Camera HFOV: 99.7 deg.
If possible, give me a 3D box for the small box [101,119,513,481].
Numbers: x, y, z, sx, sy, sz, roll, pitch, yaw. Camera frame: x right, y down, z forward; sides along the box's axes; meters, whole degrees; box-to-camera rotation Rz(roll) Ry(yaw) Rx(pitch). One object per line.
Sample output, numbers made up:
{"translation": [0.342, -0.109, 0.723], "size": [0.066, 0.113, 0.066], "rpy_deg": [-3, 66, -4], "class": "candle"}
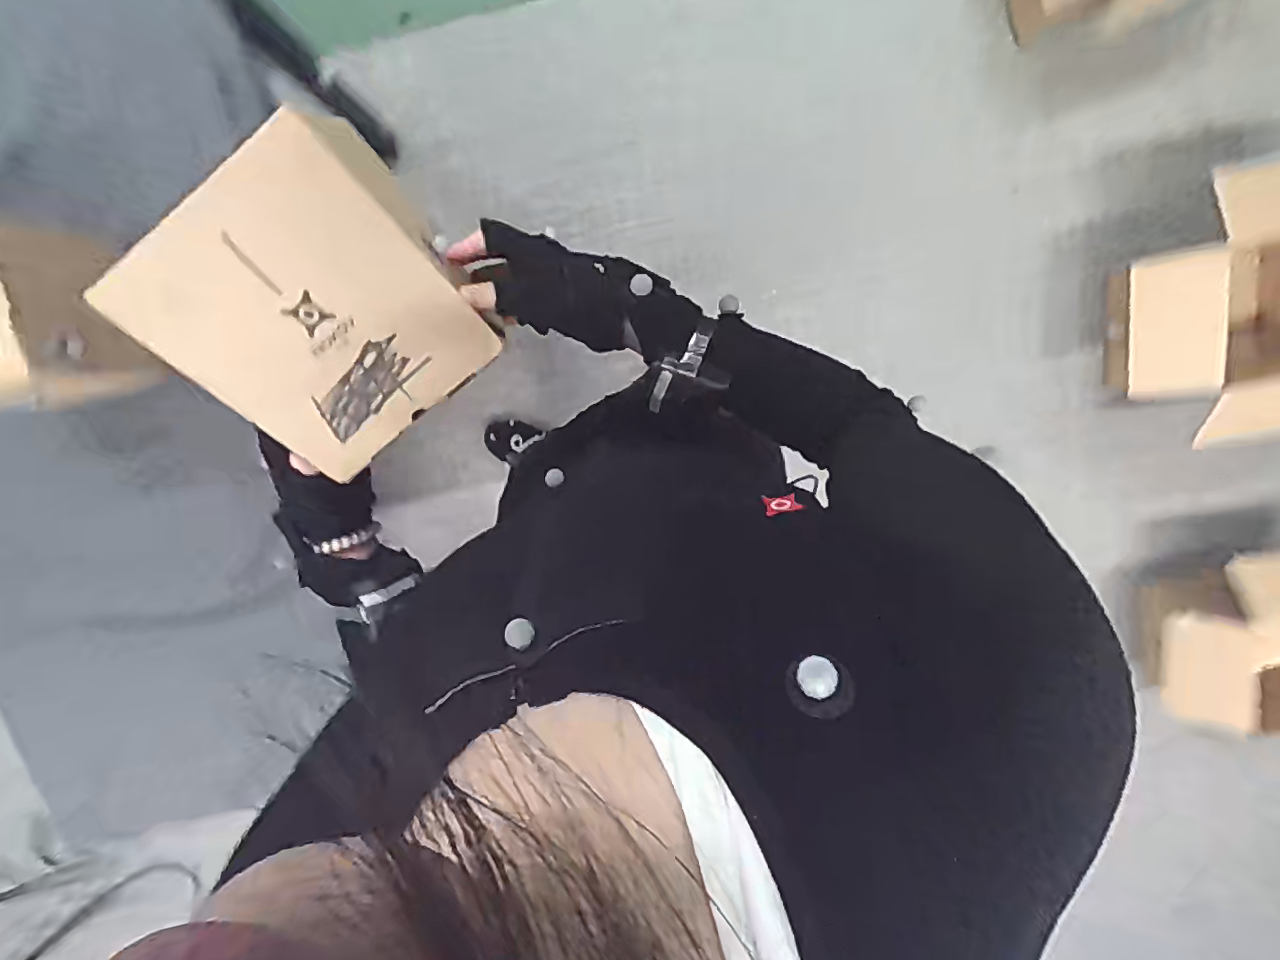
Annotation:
{"translation": [-0.220, -0.139, 0.414], "size": [0.168, 0.176, 0.179], "rpy_deg": [-37, 124, 6], "class": "small box"}
